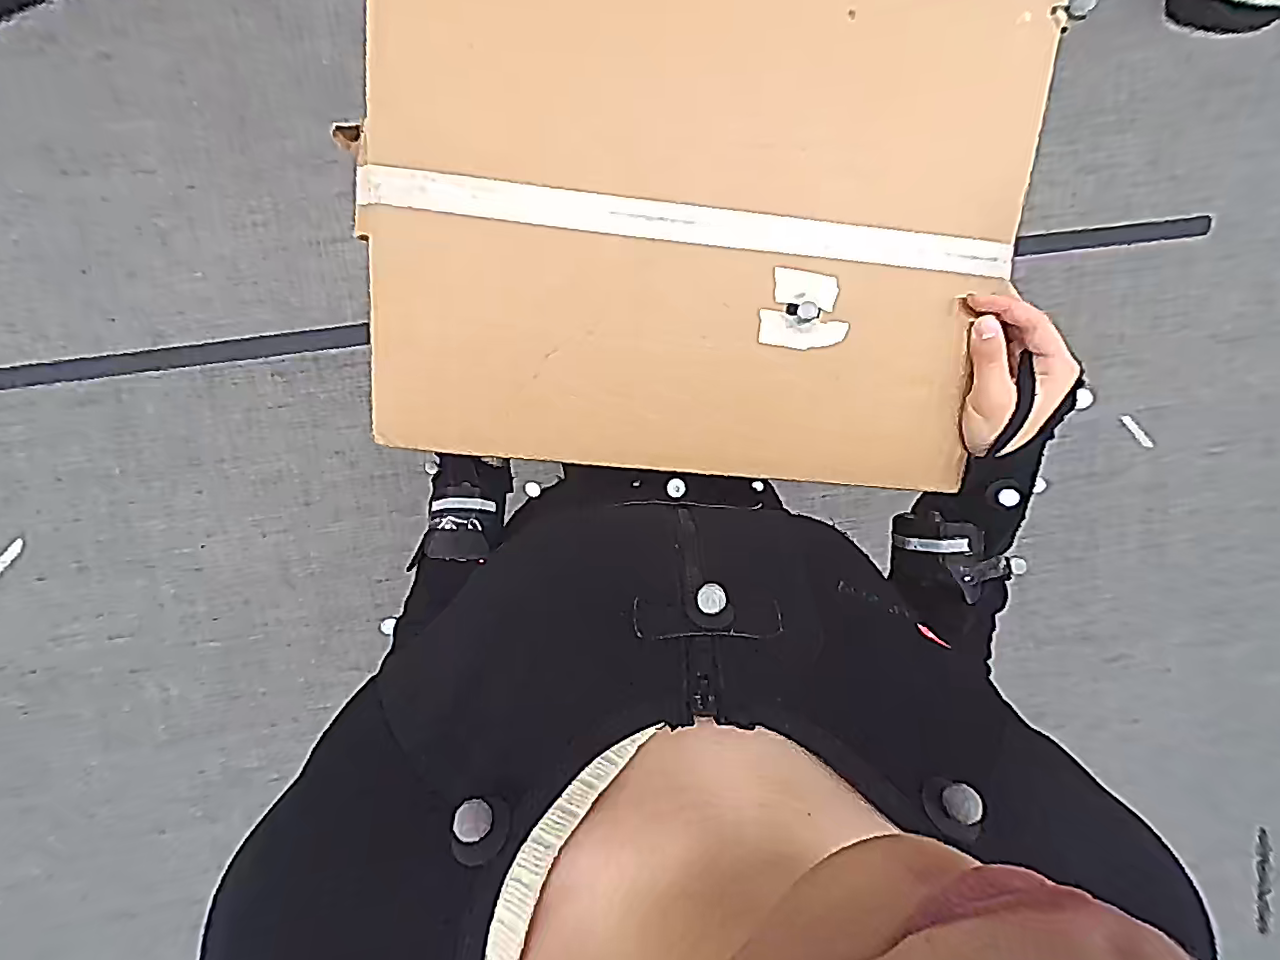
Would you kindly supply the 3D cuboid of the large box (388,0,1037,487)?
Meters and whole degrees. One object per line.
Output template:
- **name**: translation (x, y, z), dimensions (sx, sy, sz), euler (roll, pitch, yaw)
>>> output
- **large box**: translation (0.029, -0.183, 0.493), dimensions (0.408, 0.320, 0.320), euler (4, 102, -7)
